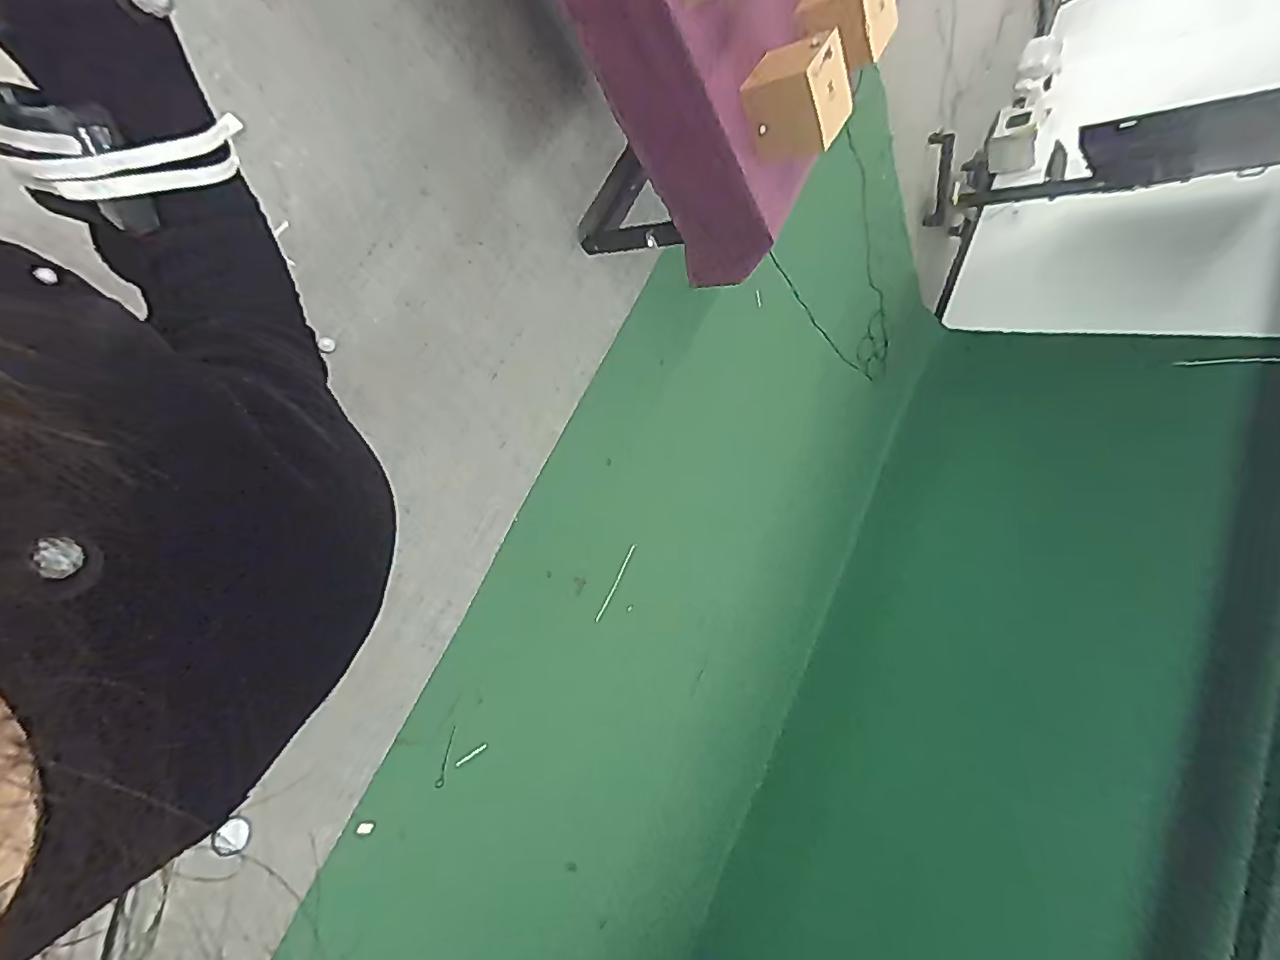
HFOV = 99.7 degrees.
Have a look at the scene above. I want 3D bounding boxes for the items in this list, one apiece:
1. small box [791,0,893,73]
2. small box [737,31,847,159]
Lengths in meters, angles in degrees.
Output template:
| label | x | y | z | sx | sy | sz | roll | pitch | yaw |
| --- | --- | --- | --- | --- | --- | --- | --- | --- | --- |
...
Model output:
| label | x | y | z | sx | sy | sz | roll | pitch | yaw |
| --- | --- | --- | --- | --- | --- | --- | --- | --- | --- |
| small box | 0.495 | -1.131 | 1.325 | 0.168 | 0.176 | 0.179 | 46 | 67 | -45 |
| small box | 0.348 | -0.867 | 1.239 | 0.168 | 0.176 | 0.179 | -59 | 138 | -19 |
